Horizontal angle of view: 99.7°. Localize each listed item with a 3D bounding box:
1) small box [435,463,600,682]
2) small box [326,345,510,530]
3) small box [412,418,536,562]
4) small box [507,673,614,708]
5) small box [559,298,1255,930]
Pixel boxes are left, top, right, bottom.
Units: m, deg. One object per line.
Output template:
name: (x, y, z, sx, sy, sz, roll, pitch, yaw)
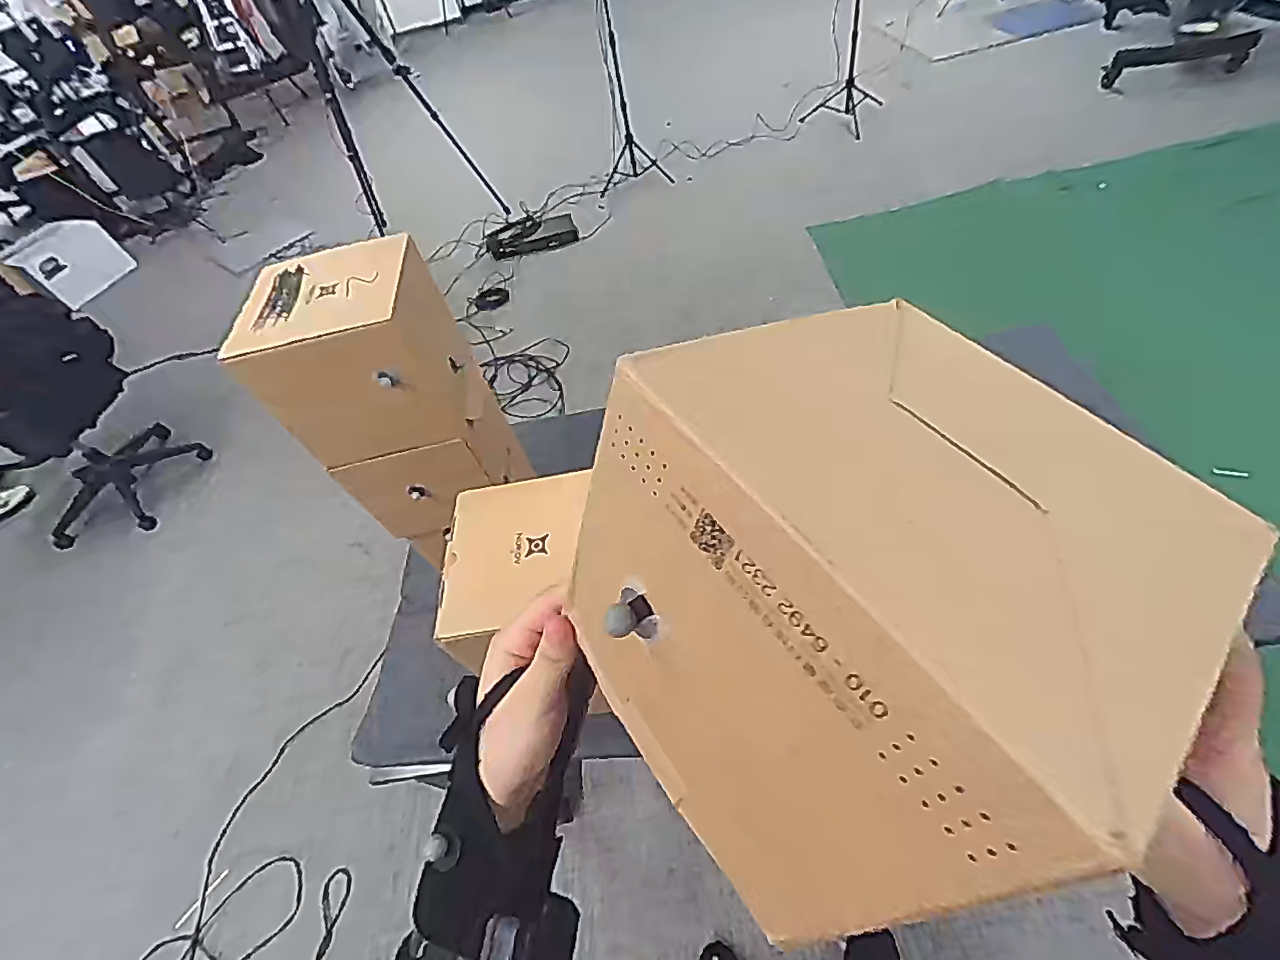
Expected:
small box: (-0.090, 0.106, 0.585, 0.179, 0.176, 0.168, -10, 53, 6)
small box: (-0.288, -0.053, 0.750, 0.179, 0.176, 0.168, -14, 53, 3)
small box: (-0.262, 0.030, 0.891, 0.168, 0.176, 0.179, -14, 52, 2)
small box: (-0.069, 0.193, 0.721, 0.179, 0.176, 0.168, -9, 52, 6)
small box: (0.086, 0.041, 0.235, 0.179, 0.176, 0.168, -21, 57, -31)
